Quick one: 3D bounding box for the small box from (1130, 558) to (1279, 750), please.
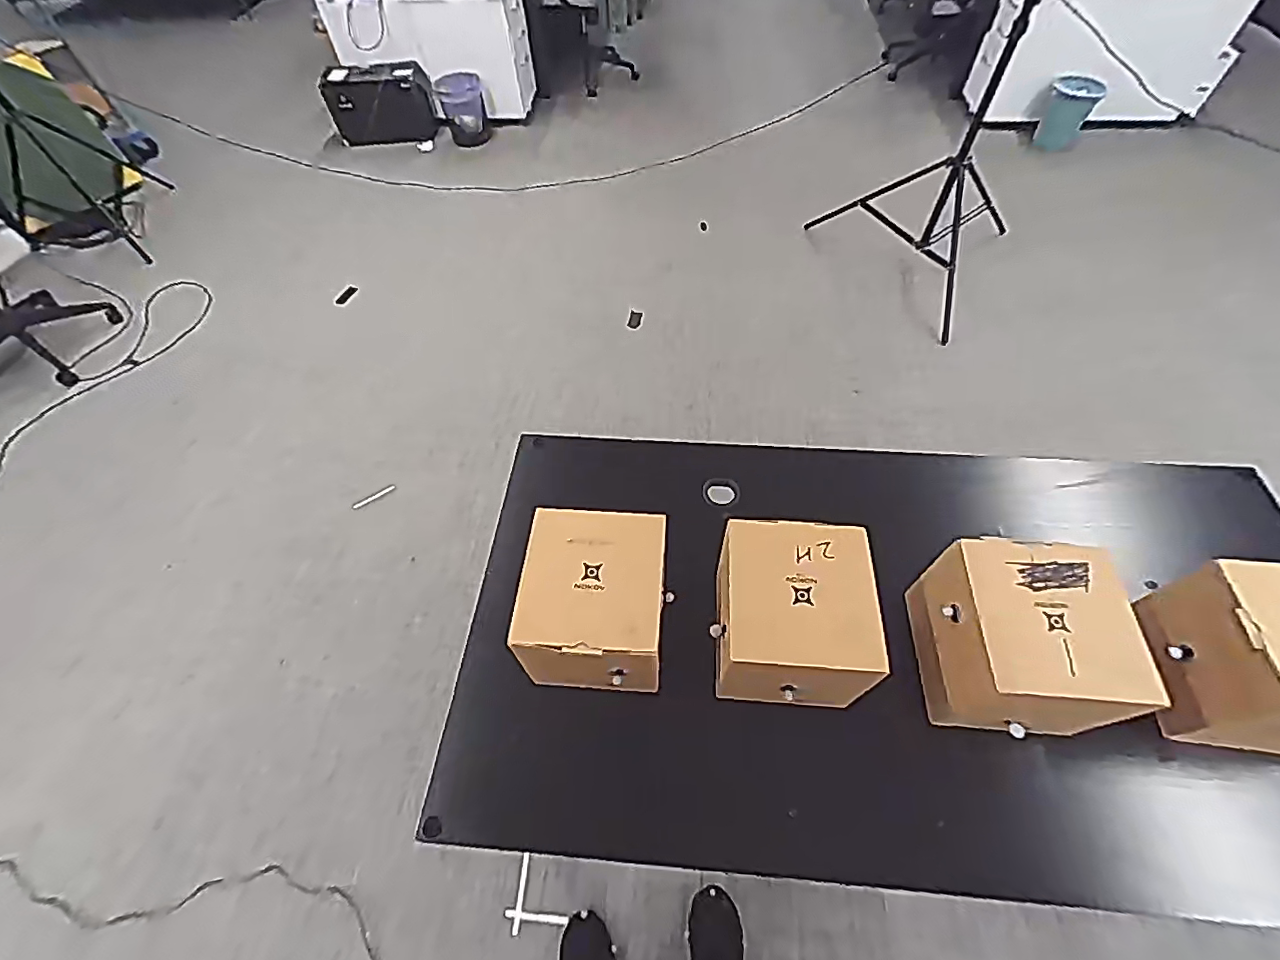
[{"bbox_3d":[0.726,0.207,0.628,0.179,0.176,0.168,5,56,7],"label":"small box"}]

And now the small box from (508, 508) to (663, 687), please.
[{"bbox_3d":[-0.056,0.156,0.695,0.168,0.176,0.179,3,54,2],"label":"small box"}]

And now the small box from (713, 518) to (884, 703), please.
[{"bbox_3d":[0.183,0.168,0.675,0.168,0.176,0.179,4,55,4],"label":"small box"}]

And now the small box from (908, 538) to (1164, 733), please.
[{"bbox_3d":[0.446,0.190,0.651,0.168,0.176,0.179,3,56,4],"label":"small box"}]
